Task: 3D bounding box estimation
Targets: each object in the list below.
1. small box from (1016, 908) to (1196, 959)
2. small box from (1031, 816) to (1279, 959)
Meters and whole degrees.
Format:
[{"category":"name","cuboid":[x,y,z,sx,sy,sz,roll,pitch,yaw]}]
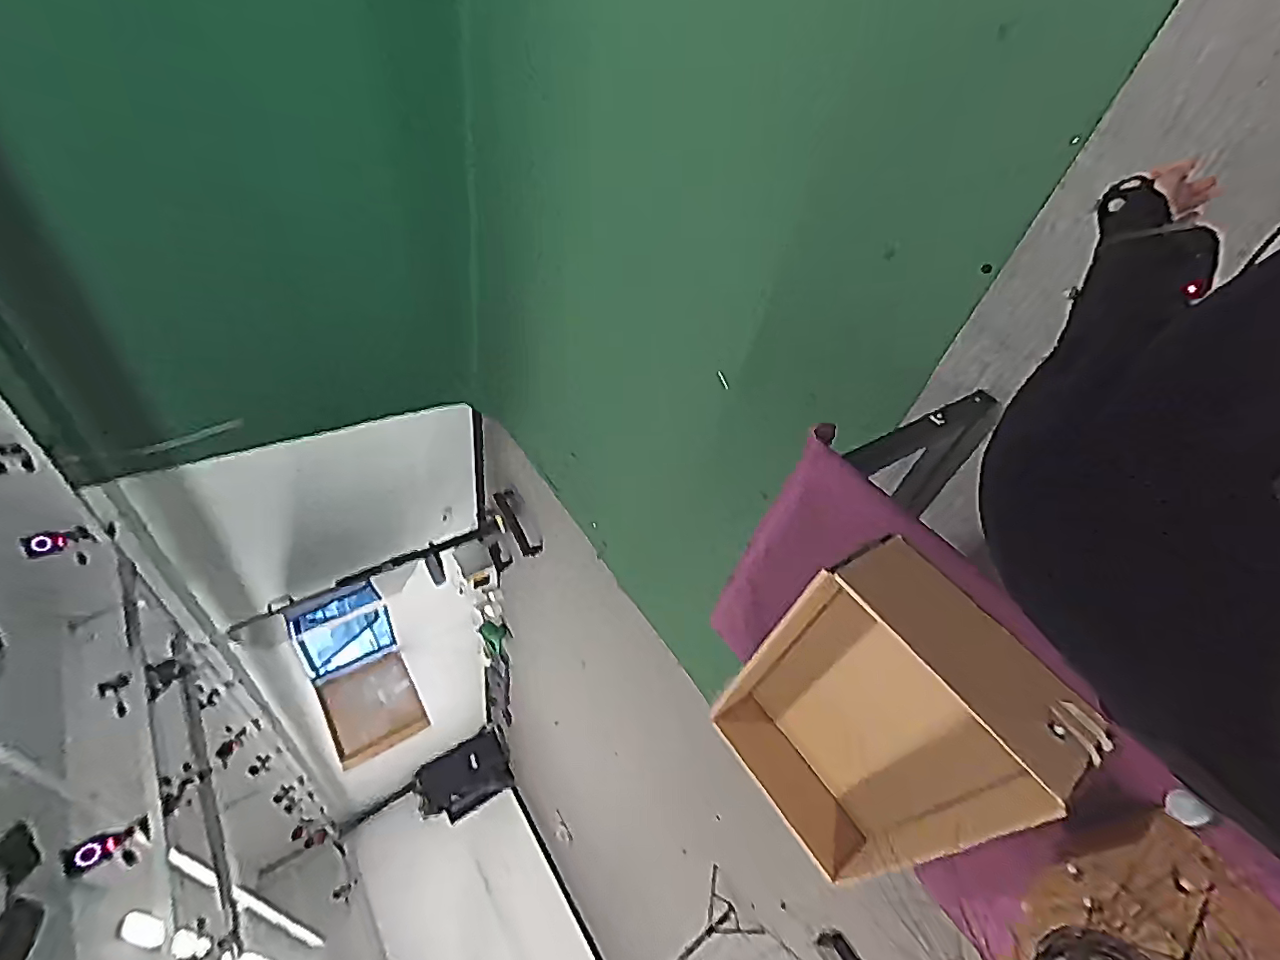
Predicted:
[{"category":"small box","cuboid":[0.540,0.615,0.596,0.179,0.176,0.168,50,144,29]},{"category":"small box","cuboid":[0.666,0.569,0.691,0.168,0.176,0.179,50,145,30]}]
